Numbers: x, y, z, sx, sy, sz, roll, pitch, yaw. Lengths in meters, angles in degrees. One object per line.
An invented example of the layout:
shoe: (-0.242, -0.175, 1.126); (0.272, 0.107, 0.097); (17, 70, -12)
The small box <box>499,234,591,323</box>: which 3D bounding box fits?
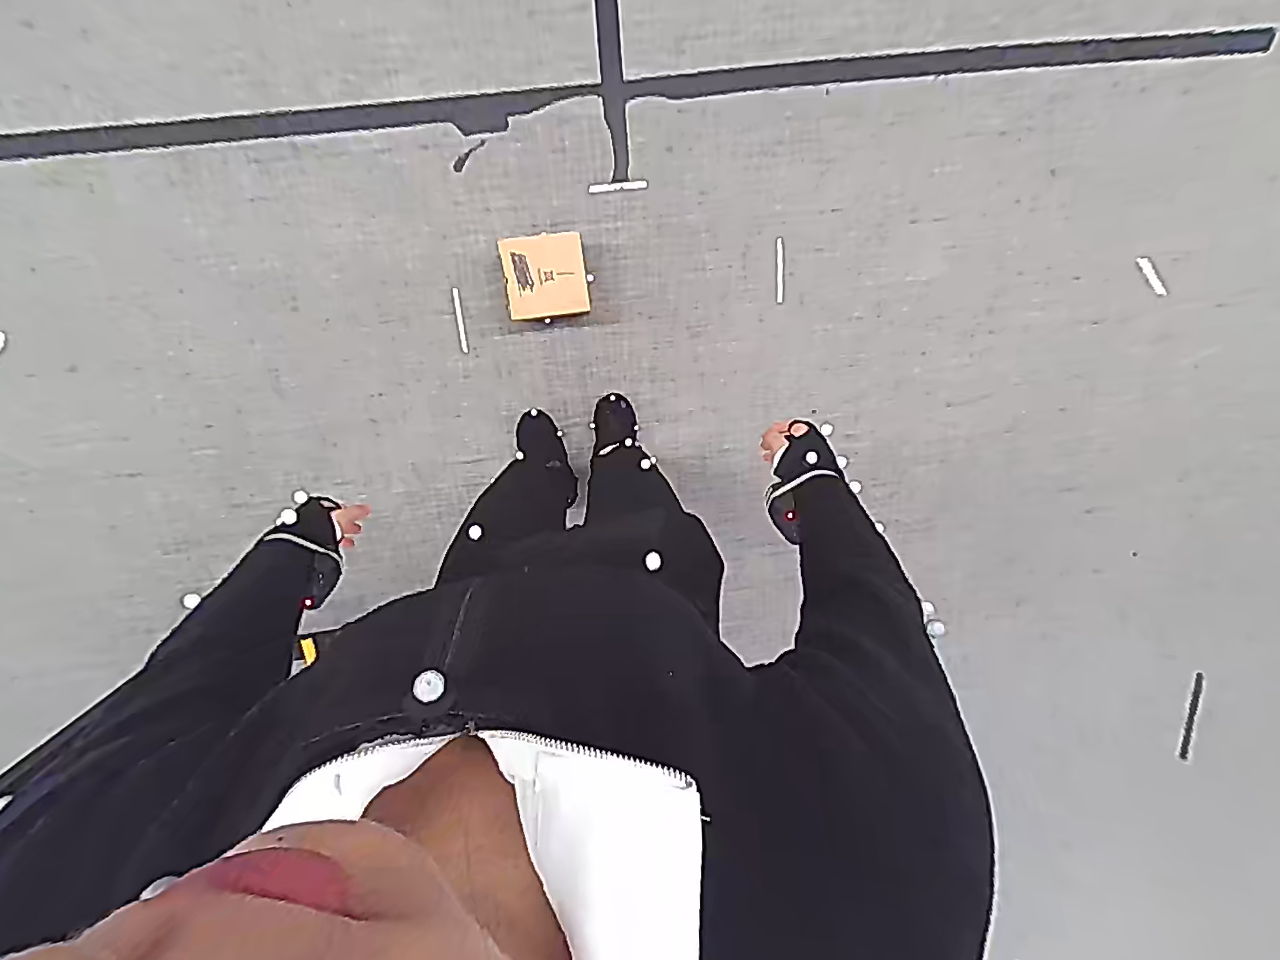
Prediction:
small box: (-0.210, -0.456, 1.242); (0.179, 0.176, 0.168); (-8, 106, -3)
